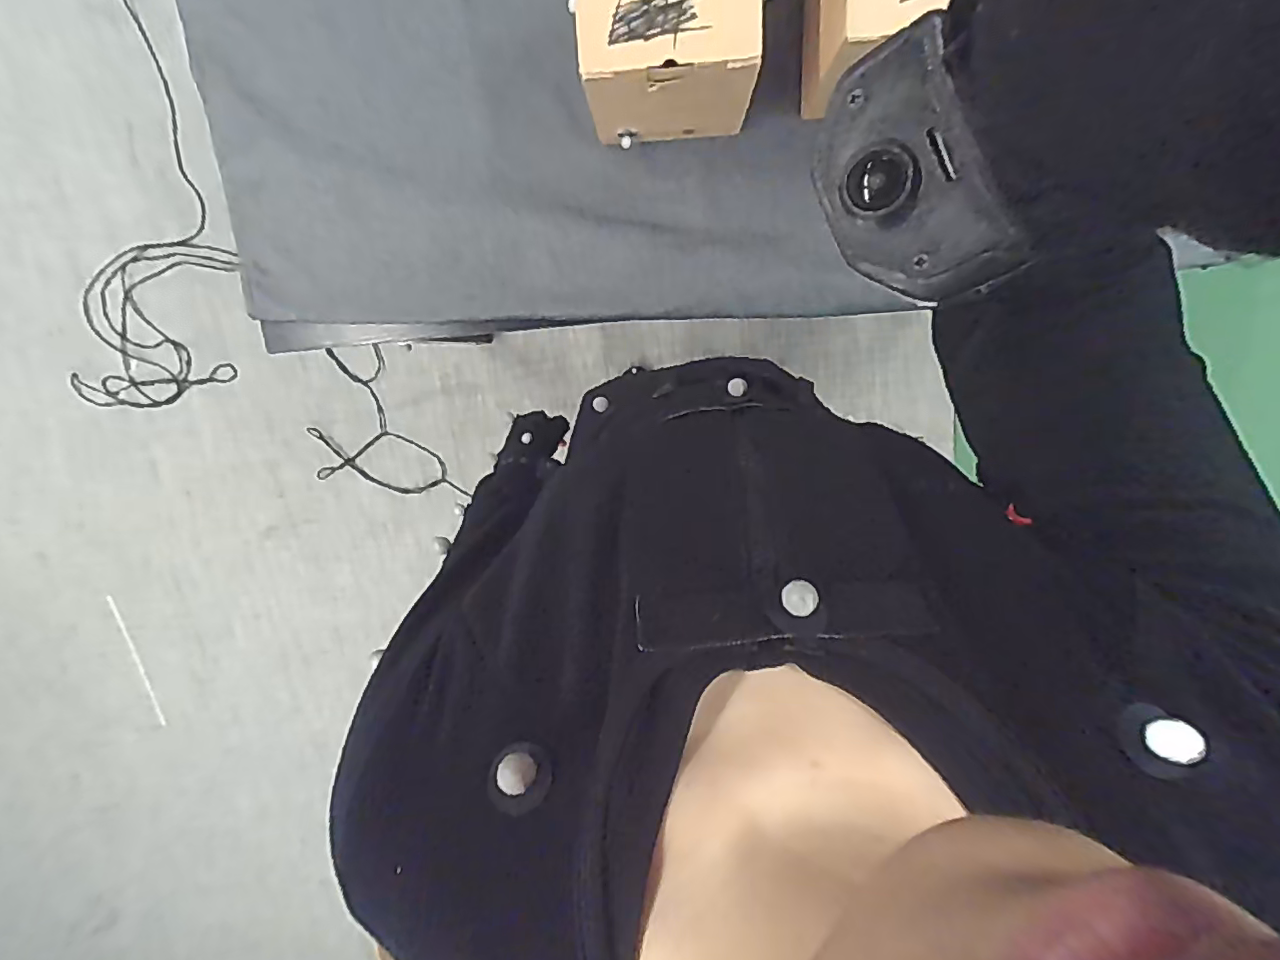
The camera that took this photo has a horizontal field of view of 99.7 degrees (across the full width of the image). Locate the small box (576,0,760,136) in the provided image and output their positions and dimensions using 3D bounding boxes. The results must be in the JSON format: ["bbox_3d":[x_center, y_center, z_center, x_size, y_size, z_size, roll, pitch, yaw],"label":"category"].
[{"bbox_3d":[0.029,-0.471,0.545,0.168,0.176,0.179,-2,102,4],"label":"small box"}]

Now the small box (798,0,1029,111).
[{"bbox_3d":[0.259,-0.494,0.528,0.168,0.176,0.179,2,106,4],"label":"small box"}]
